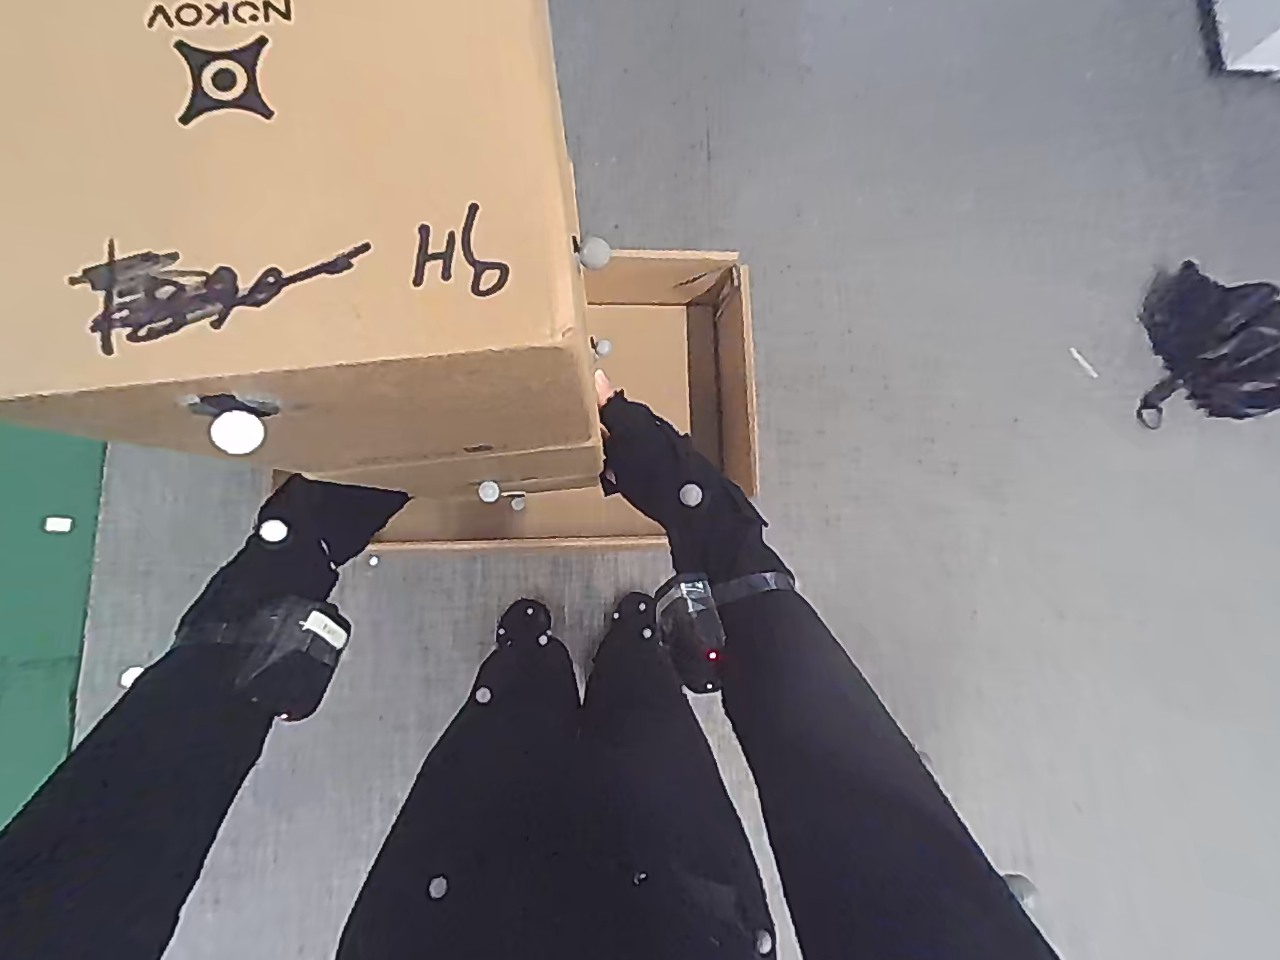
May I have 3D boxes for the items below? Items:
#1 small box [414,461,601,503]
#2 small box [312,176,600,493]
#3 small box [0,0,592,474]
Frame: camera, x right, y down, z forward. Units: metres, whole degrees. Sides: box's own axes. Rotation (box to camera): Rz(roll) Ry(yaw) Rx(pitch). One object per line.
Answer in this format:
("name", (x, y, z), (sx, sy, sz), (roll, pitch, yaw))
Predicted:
("small box", (-0.131, -0.073, 0.563), (0.168, 0.176, 0.179), (-7, 87, -4))
("small box", (-0.120, -0.089, 0.399), (0.168, 0.176, 0.179), (-6, 86, -4))
("small box", (-0.113, -0.106, 0.236), (0.168, 0.176, 0.179), (-7, 84, -3))
